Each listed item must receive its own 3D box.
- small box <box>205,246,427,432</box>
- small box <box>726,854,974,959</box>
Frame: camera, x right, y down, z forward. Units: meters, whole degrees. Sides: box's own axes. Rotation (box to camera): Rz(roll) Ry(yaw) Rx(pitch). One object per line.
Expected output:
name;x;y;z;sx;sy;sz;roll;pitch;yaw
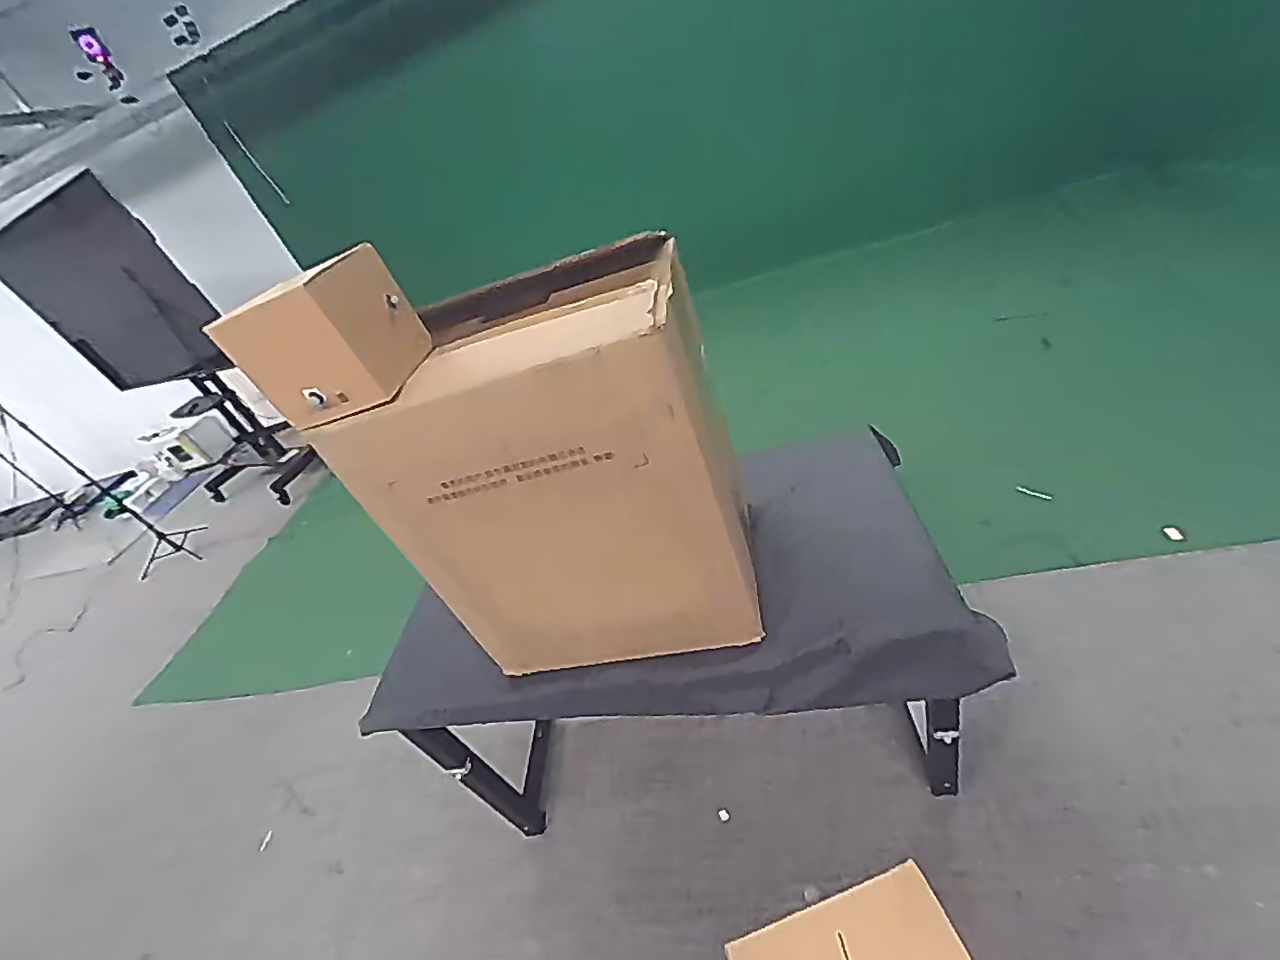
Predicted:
small box;-0.431;-0.195;0.757;0.168;0.176;0.179;-16;37;14
small box;0.182;0.433;0.424;0.168;0.176;0.179;-20;47;-5
